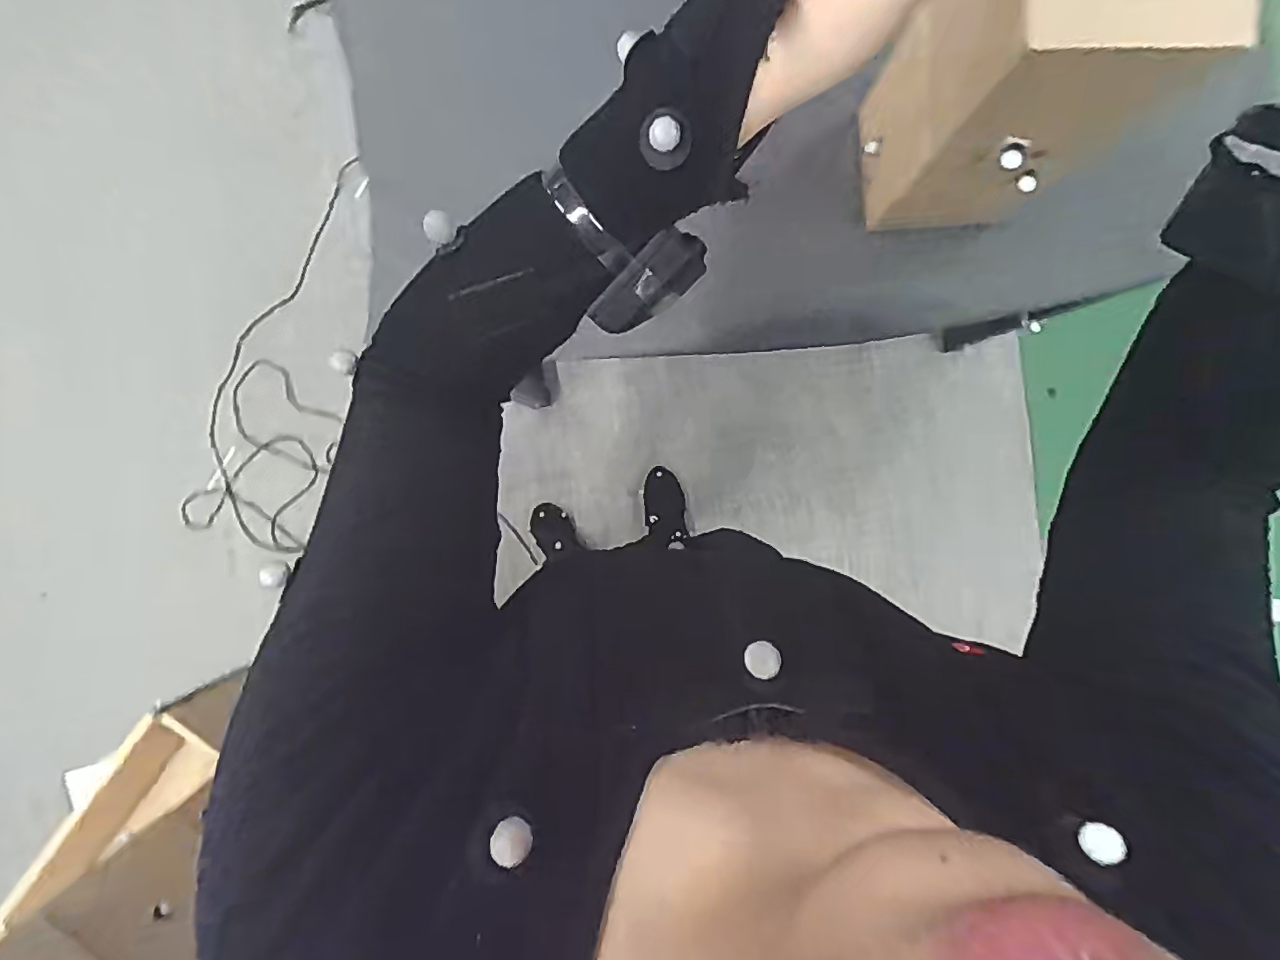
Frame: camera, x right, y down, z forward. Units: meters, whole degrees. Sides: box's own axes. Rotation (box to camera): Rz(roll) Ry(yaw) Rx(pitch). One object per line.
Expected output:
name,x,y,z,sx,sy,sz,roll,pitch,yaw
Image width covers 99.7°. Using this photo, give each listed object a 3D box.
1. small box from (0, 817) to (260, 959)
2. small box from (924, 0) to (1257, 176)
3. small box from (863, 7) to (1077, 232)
small box,-0.613,0.543,0.635,0.179,0.176,0.168,41,95,-3
small box,0.374,-0.402,0.478,0.168,0.176,0.179,2,93,3
small box,0.385,-0.413,0.640,0.179,0.176,0.168,-3,91,2
